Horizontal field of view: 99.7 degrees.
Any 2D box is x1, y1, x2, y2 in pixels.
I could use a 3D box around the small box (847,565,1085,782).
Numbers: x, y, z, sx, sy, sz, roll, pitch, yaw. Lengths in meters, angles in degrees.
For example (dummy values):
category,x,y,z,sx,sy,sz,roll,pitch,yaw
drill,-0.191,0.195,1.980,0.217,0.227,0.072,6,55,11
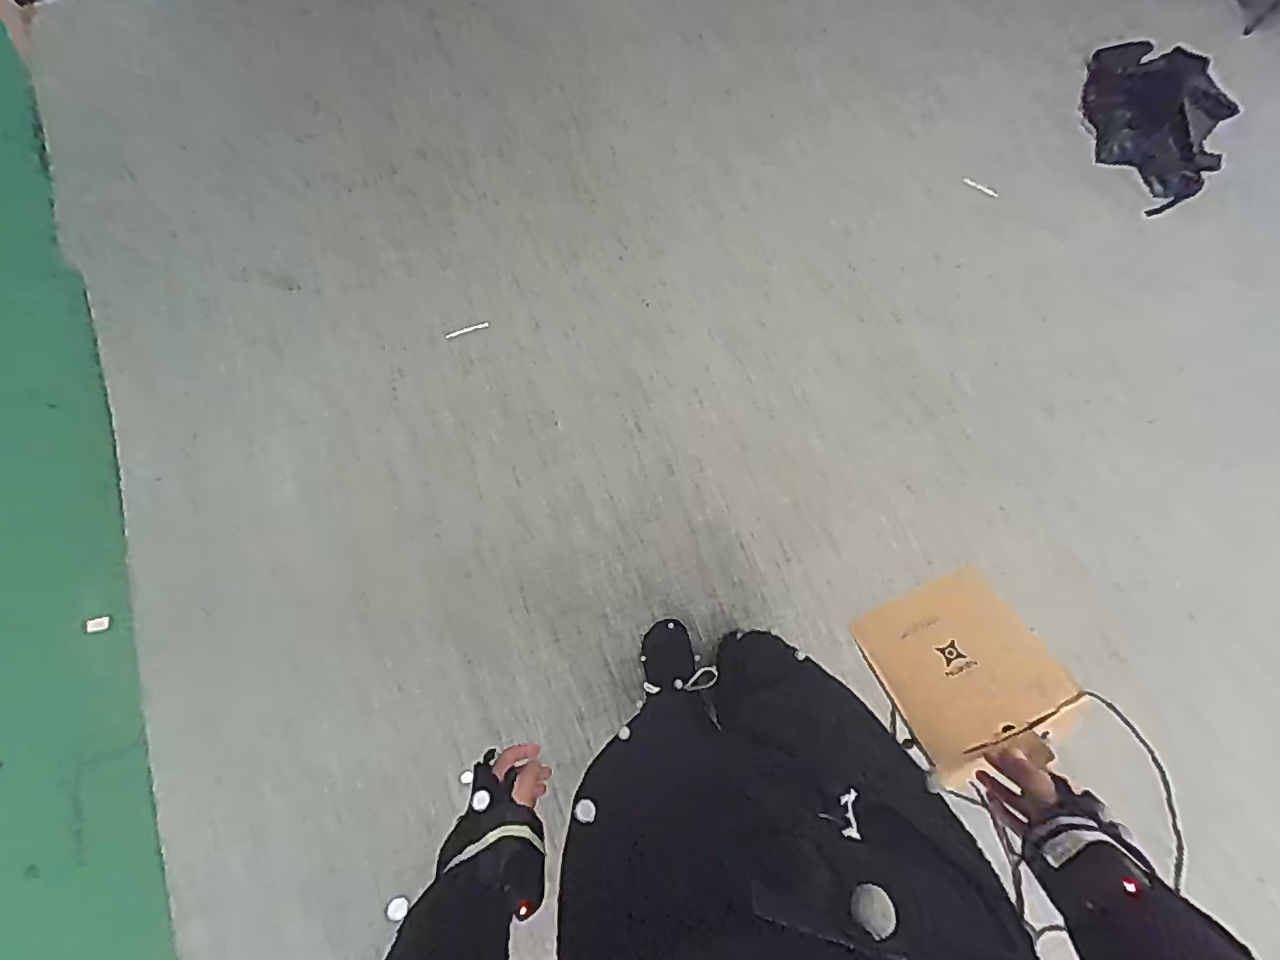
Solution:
category,x,y,z,sx,sy,sz,roll,pitch,yaw
small box,0.384,0.242,0.654,0.168,0.176,0.179,-31,43,9
